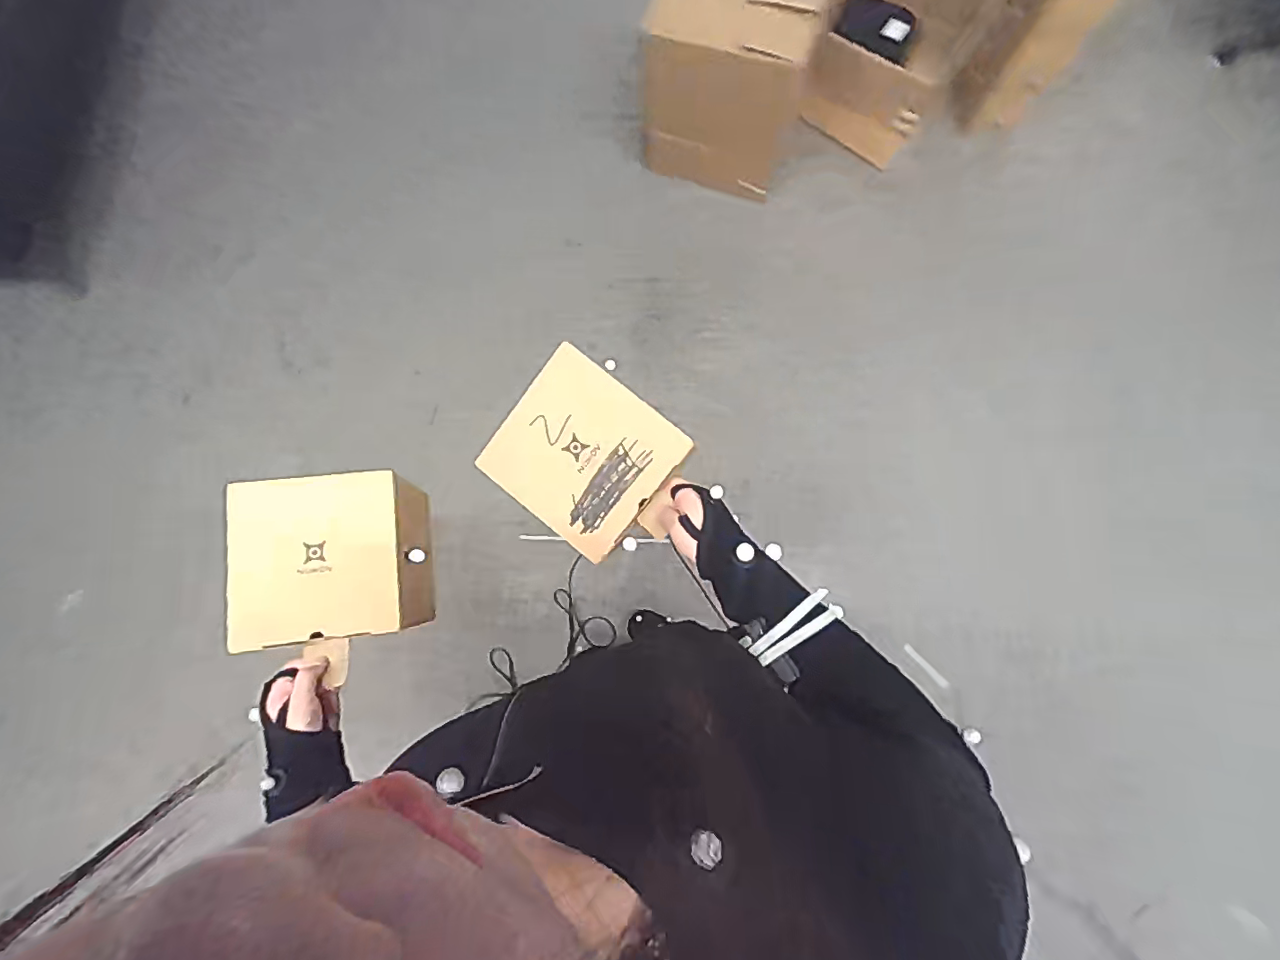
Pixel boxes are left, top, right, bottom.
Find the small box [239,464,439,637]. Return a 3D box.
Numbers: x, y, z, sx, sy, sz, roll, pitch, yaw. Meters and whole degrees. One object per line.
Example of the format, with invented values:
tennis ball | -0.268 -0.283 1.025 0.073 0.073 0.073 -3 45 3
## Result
small box | -0.347 0.085 0.654 0.168 0.176 0.179 -4 82 -9
